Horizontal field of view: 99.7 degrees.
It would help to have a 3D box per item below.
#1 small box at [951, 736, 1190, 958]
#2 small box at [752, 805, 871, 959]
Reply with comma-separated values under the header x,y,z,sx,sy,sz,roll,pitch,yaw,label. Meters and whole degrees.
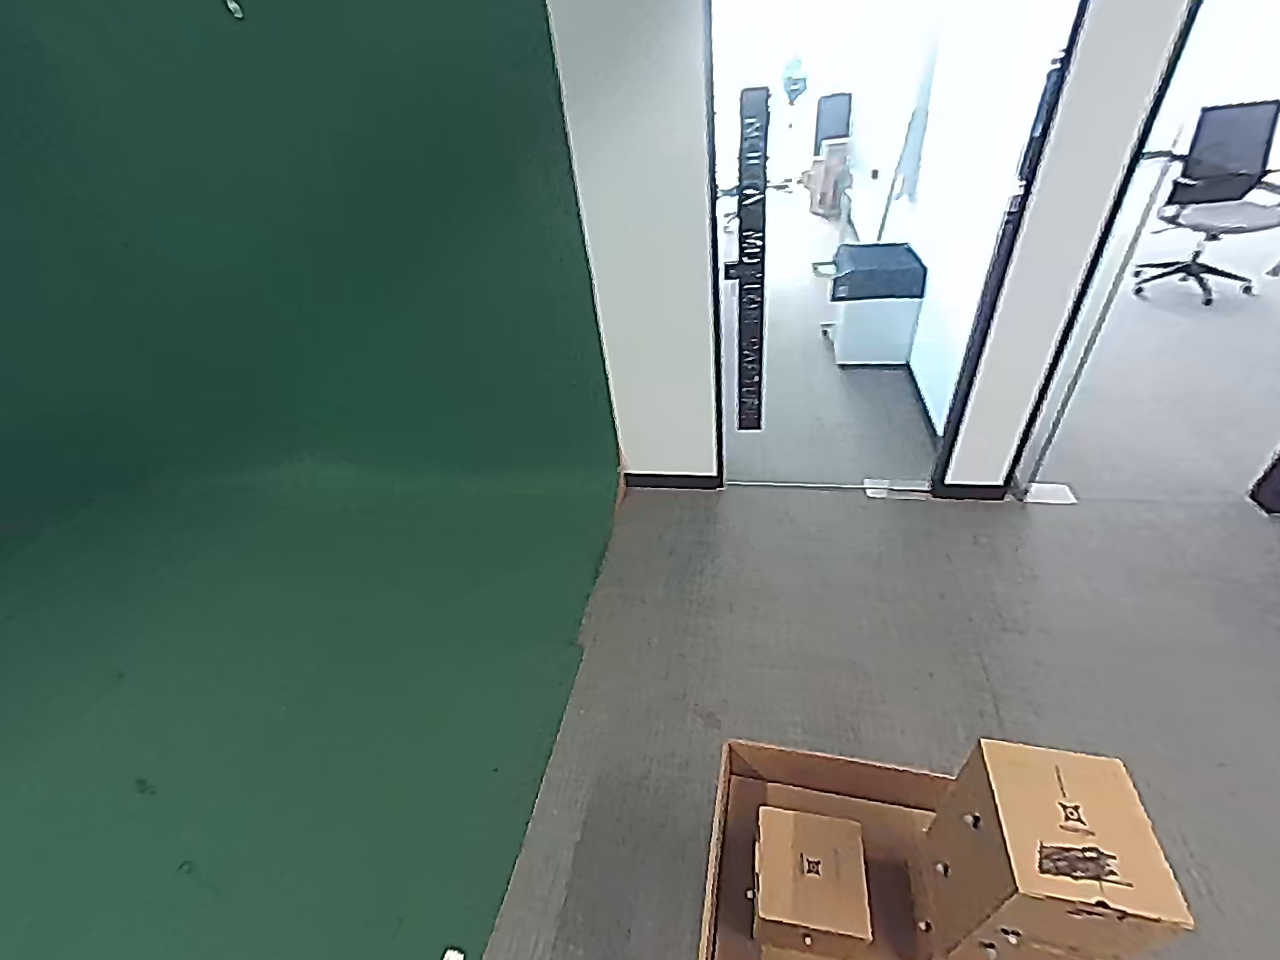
x,y,z,sx,sy,sz,roll,pitch,yaw,label
0.518,0.464,0.687,0.168,0.176,0.179,4,39,14,small box
0.292,0.707,0.949,0.179,0.176,0.168,5,40,12,small box
